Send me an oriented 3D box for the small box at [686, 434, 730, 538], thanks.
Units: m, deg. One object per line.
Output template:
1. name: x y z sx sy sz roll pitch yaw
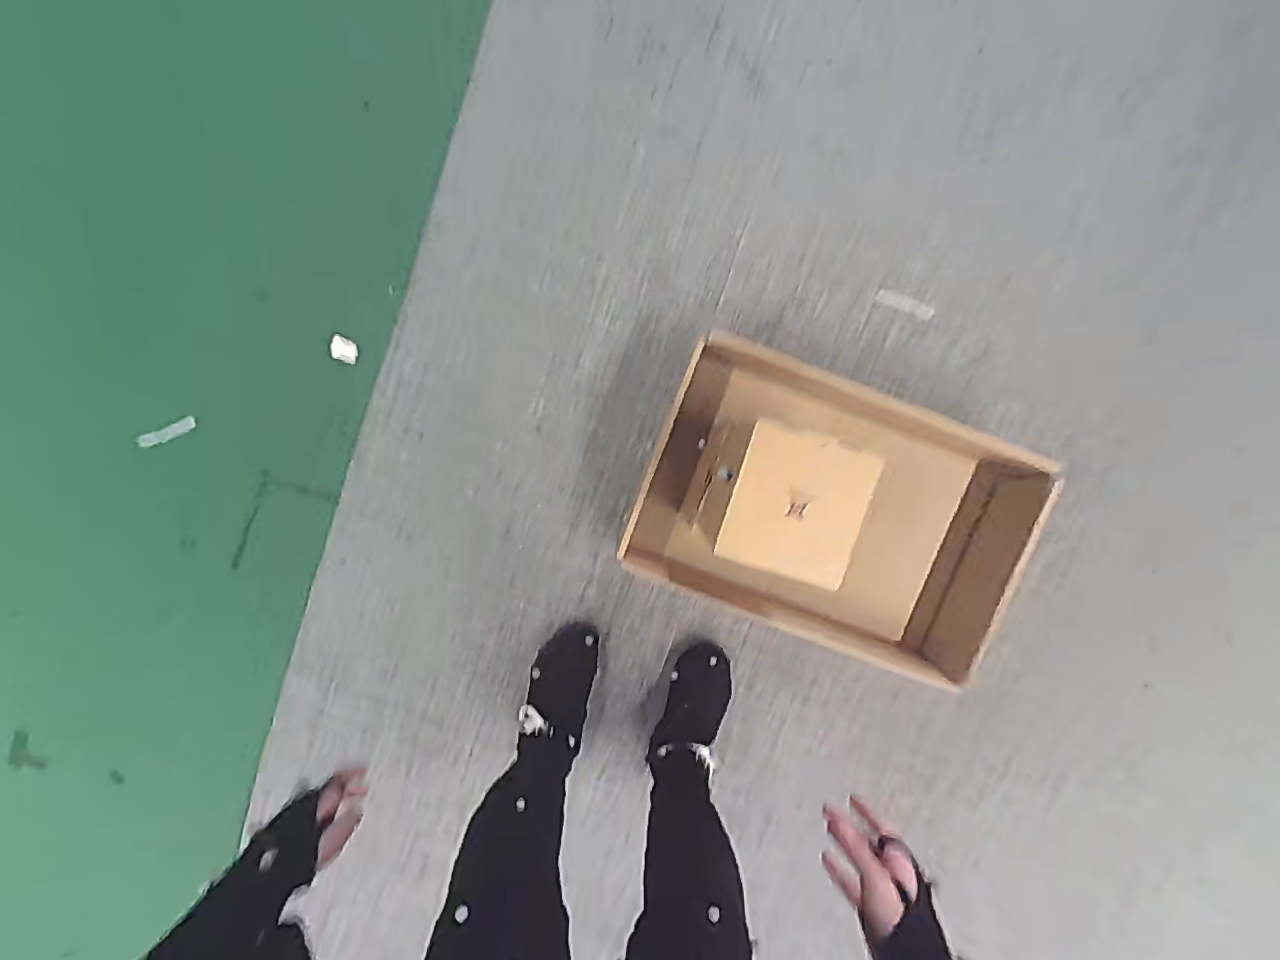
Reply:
1. small box: 0.185 0.028 0.903 0.179 0.176 0.168 19 95 -3

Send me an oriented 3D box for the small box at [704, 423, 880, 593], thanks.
1. small box: 0.191 0.029 0.740 0.168 0.176 0.179 16 94 -1
